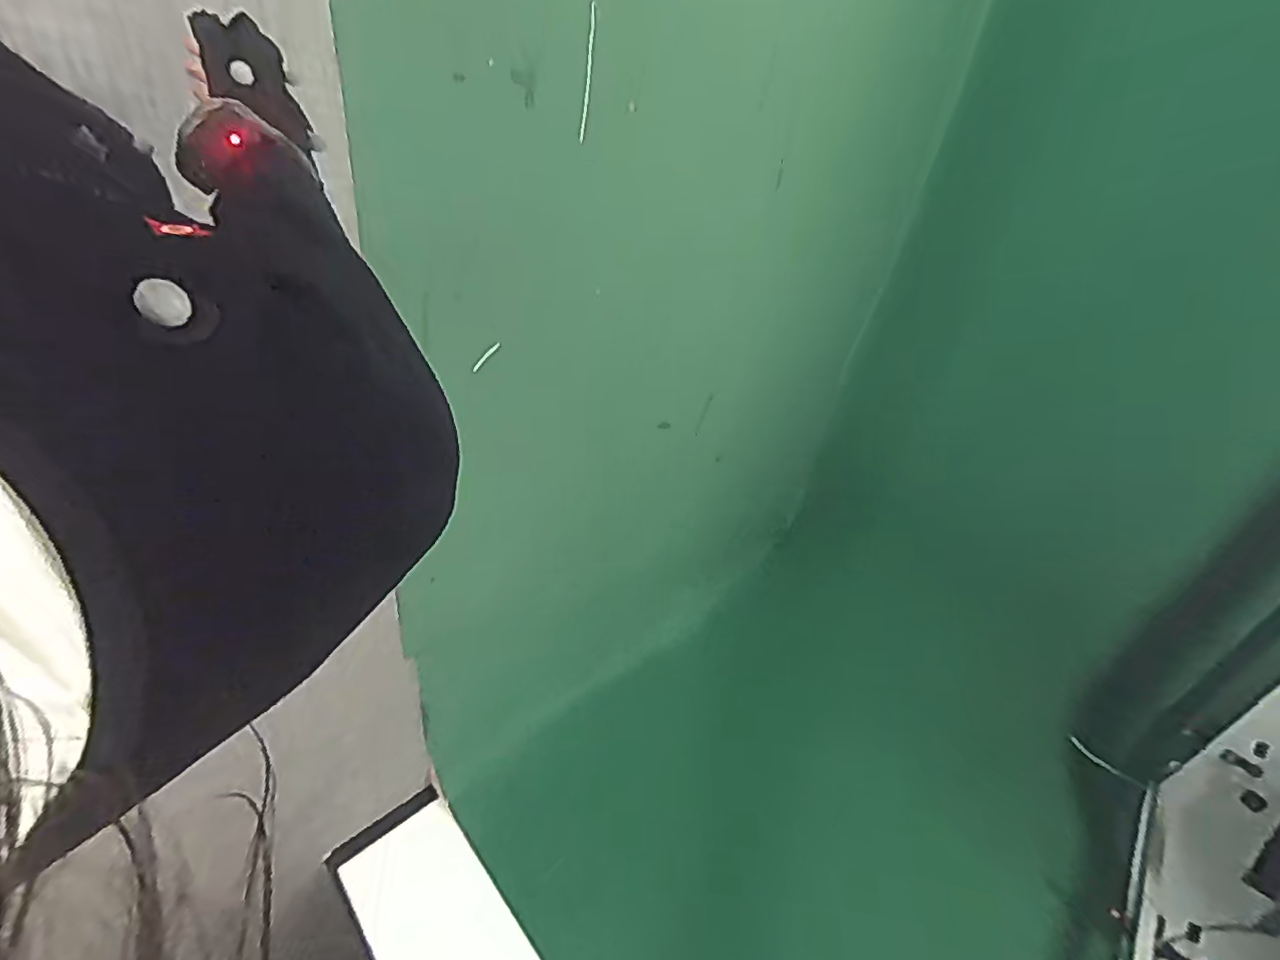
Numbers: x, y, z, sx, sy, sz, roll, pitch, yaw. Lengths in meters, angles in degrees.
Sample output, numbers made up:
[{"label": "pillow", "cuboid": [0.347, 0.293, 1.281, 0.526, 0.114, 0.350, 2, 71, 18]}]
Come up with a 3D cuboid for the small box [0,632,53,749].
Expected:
[{"label": "small box", "cuboid": [-1.372, 0.452, 1.120, 0.179, 0.176, 0.168, -19, 132, -42]}]
